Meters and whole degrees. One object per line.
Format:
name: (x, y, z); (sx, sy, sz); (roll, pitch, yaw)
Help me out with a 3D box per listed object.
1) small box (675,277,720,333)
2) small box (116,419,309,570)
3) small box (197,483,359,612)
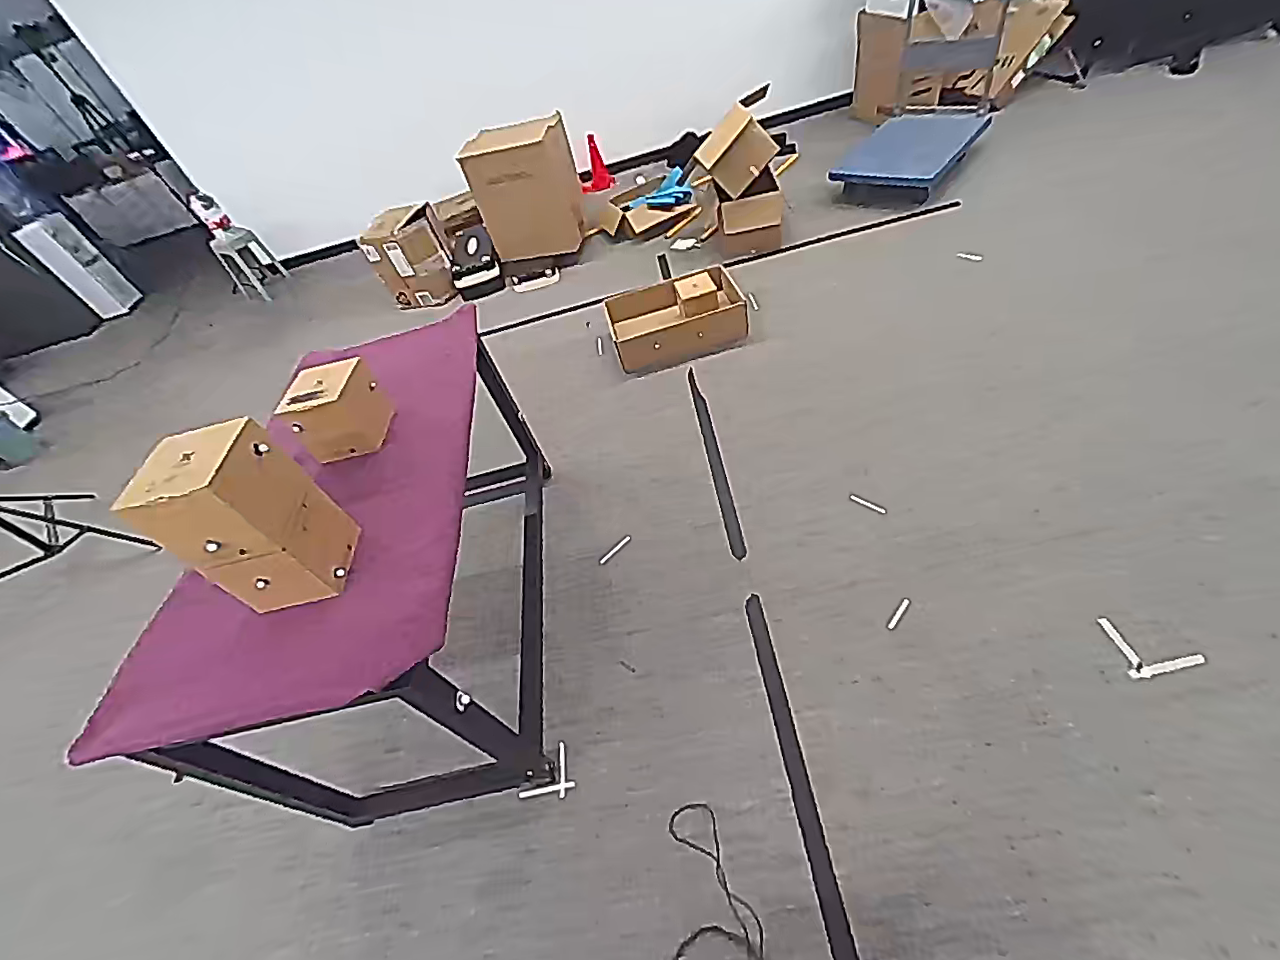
small box: (0.273, -0.834, 2.582); (0.168, 0.176, 0.179); (-17, 46, 2)
small box: (-0.716, 0.027, 0.935); (0.168, 0.176, 0.179); (-14, 46, 4)
small box: (-0.689, 0.136, 1.056); (0.179, 0.176, 0.168); (-13, 46, 5)
